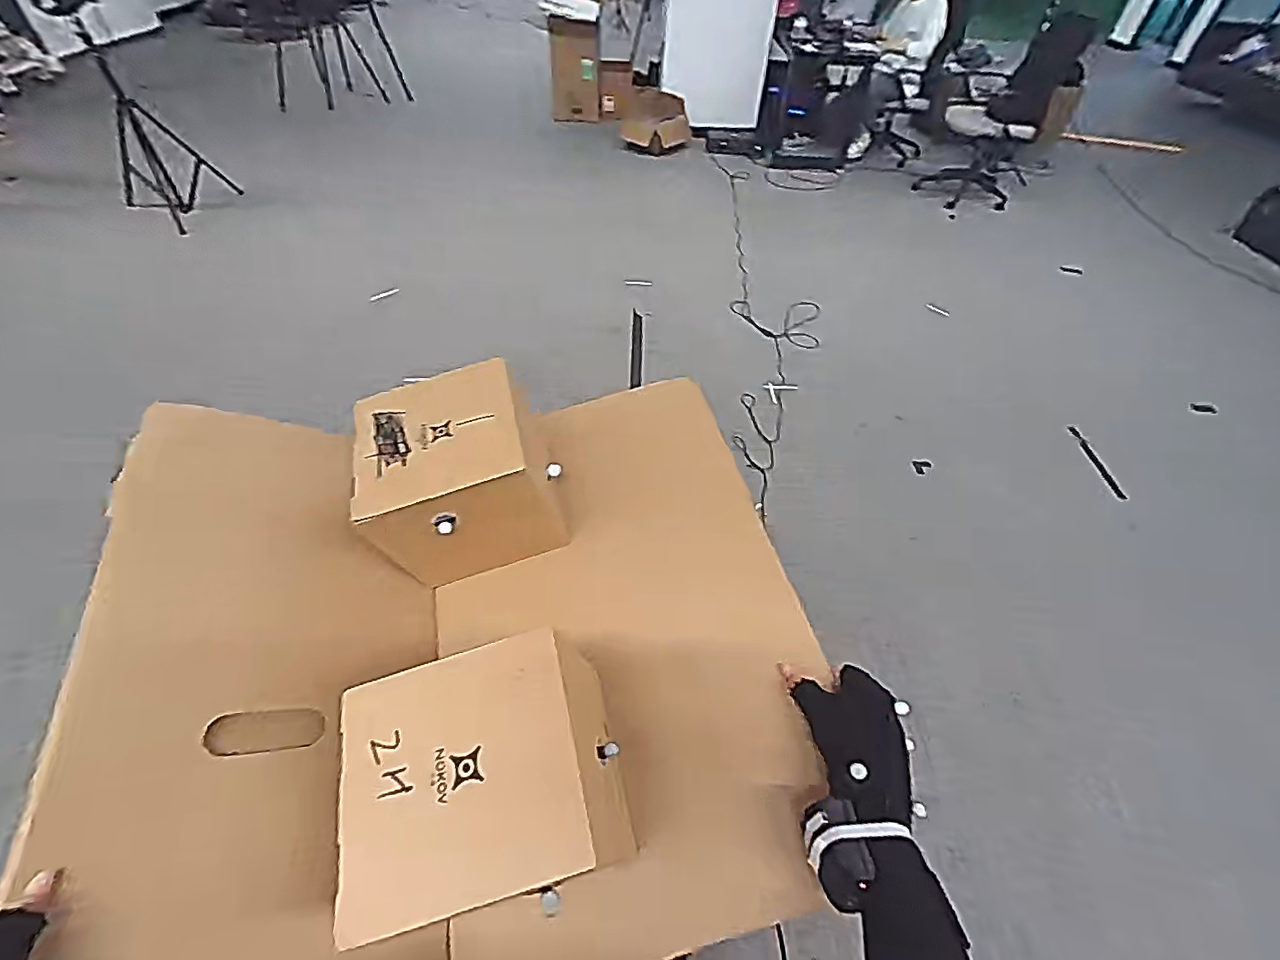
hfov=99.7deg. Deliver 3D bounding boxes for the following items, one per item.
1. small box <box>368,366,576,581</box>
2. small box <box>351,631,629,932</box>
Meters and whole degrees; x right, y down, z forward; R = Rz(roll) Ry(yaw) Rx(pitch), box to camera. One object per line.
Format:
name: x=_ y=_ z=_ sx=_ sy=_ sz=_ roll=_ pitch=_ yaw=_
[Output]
small box: x=-0.191 y=0.000 z=0.642 sx=0.179 sy=0.176 sz=0.168 roll=-17 pitch=56 yaw=-1
small box: x=-0.113 y=0.251 z=0.464 sx=0.179 sy=0.176 sz=0.168 roll=-16 pitch=56 yaw=0
